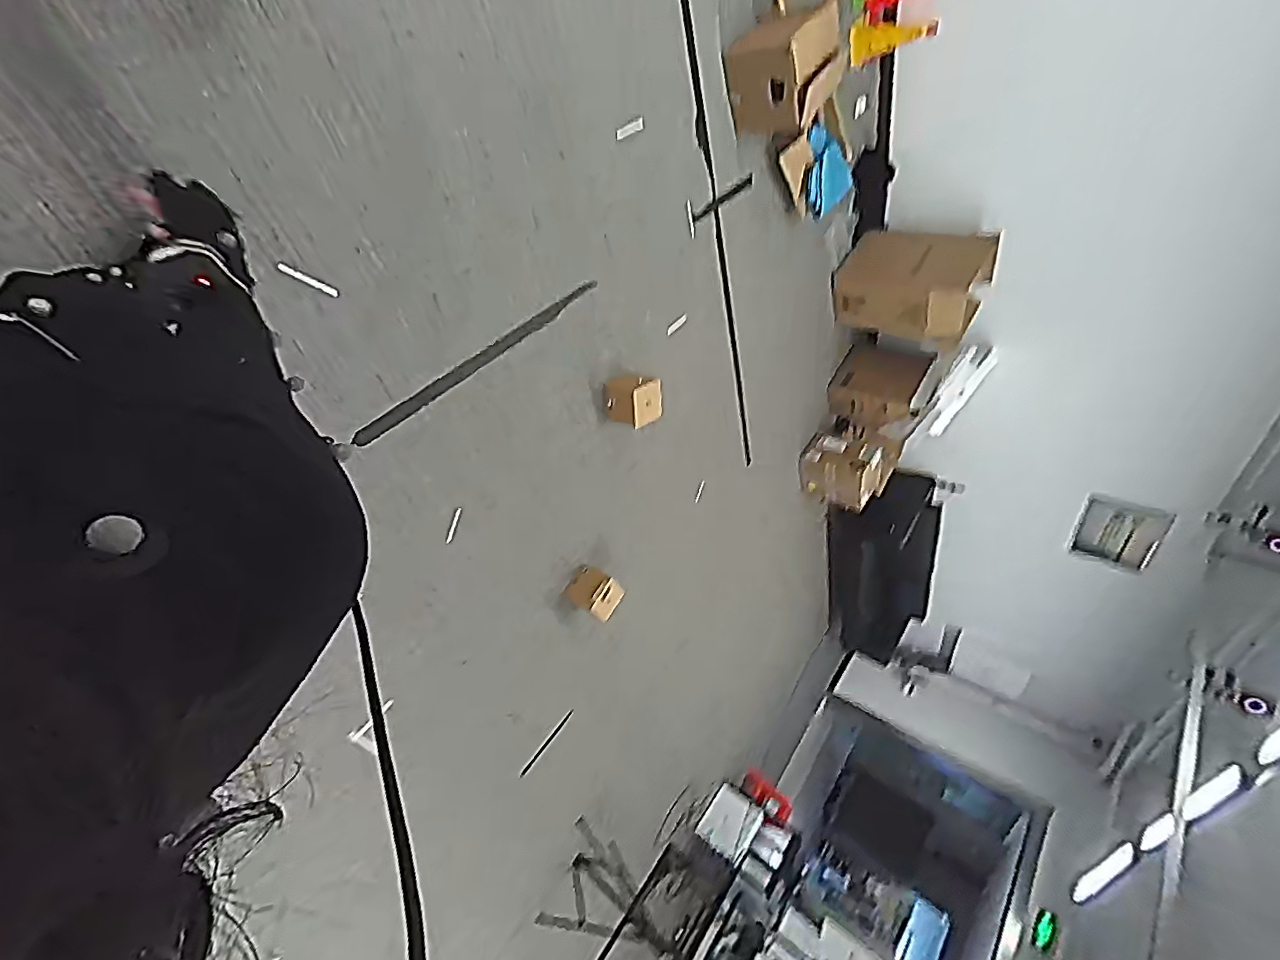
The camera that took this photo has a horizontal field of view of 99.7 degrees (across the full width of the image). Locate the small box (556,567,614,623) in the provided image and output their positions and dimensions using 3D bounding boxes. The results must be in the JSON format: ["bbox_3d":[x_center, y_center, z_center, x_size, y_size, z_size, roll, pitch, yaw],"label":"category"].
[{"bbox_3d":[-0.254,0.516,2.461,0.168,0.176,0.179,-54,143,-21],"label":"small box"}]

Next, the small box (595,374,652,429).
[{"bbox_3d":[-0.068,-0.337,2.281,0.179,0.176,0.168,-32,129,-40],"label":"small box"}]
